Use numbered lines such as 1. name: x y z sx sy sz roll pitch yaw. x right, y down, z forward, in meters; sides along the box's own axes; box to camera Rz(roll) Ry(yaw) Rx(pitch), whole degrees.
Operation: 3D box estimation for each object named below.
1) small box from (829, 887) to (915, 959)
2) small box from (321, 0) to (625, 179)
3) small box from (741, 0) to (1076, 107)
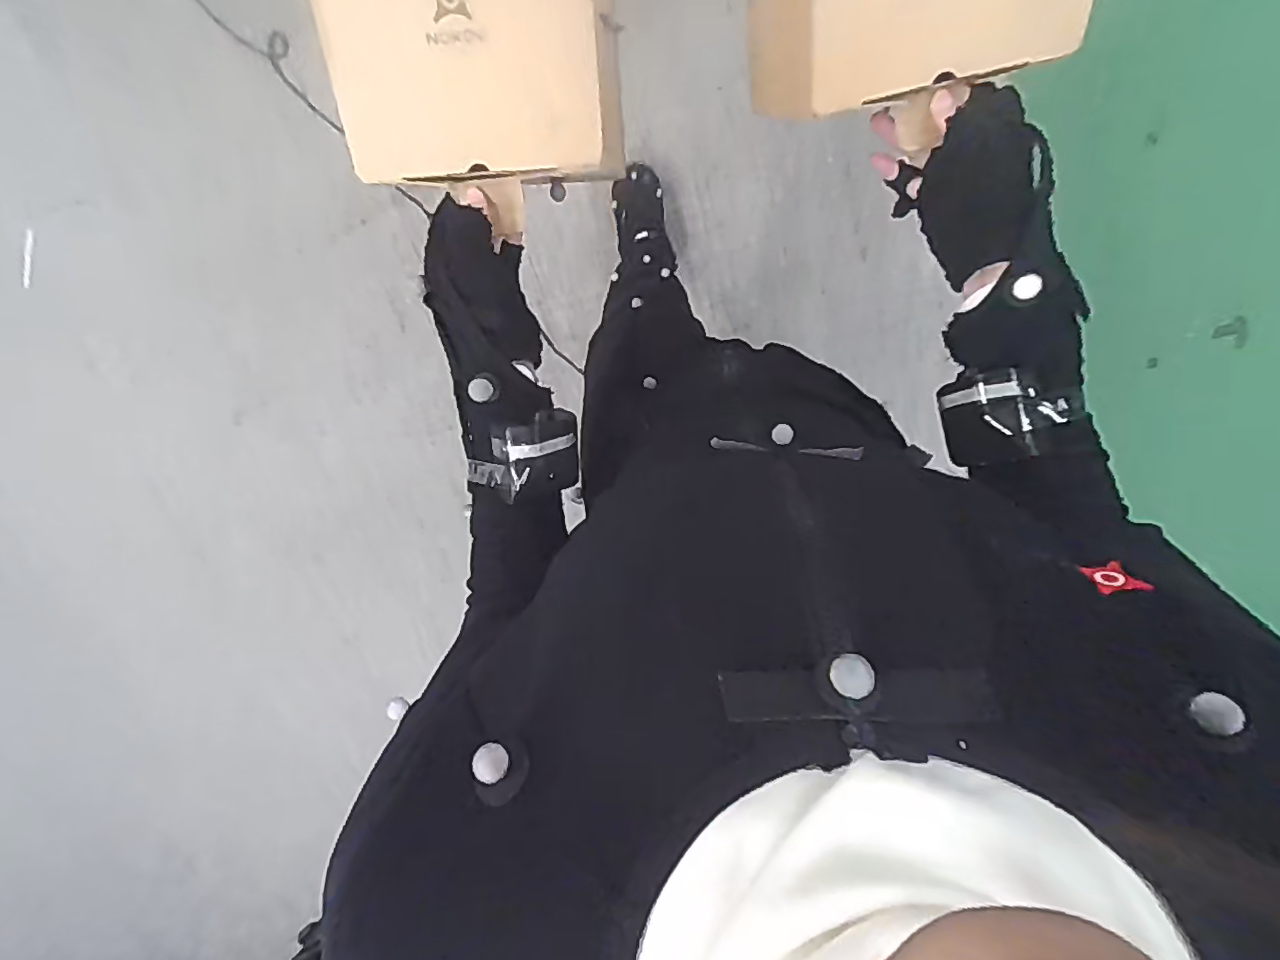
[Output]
1. small box: 0.624 1.250 1.462 0.179 0.176 0.168 -12 105 5
2. small box: -0.102 -0.319 0.385 0.168 0.176 0.179 -3 116 4
3. small box: 0.166 -0.371 0.359 0.168 0.176 0.179 -12 125 2
